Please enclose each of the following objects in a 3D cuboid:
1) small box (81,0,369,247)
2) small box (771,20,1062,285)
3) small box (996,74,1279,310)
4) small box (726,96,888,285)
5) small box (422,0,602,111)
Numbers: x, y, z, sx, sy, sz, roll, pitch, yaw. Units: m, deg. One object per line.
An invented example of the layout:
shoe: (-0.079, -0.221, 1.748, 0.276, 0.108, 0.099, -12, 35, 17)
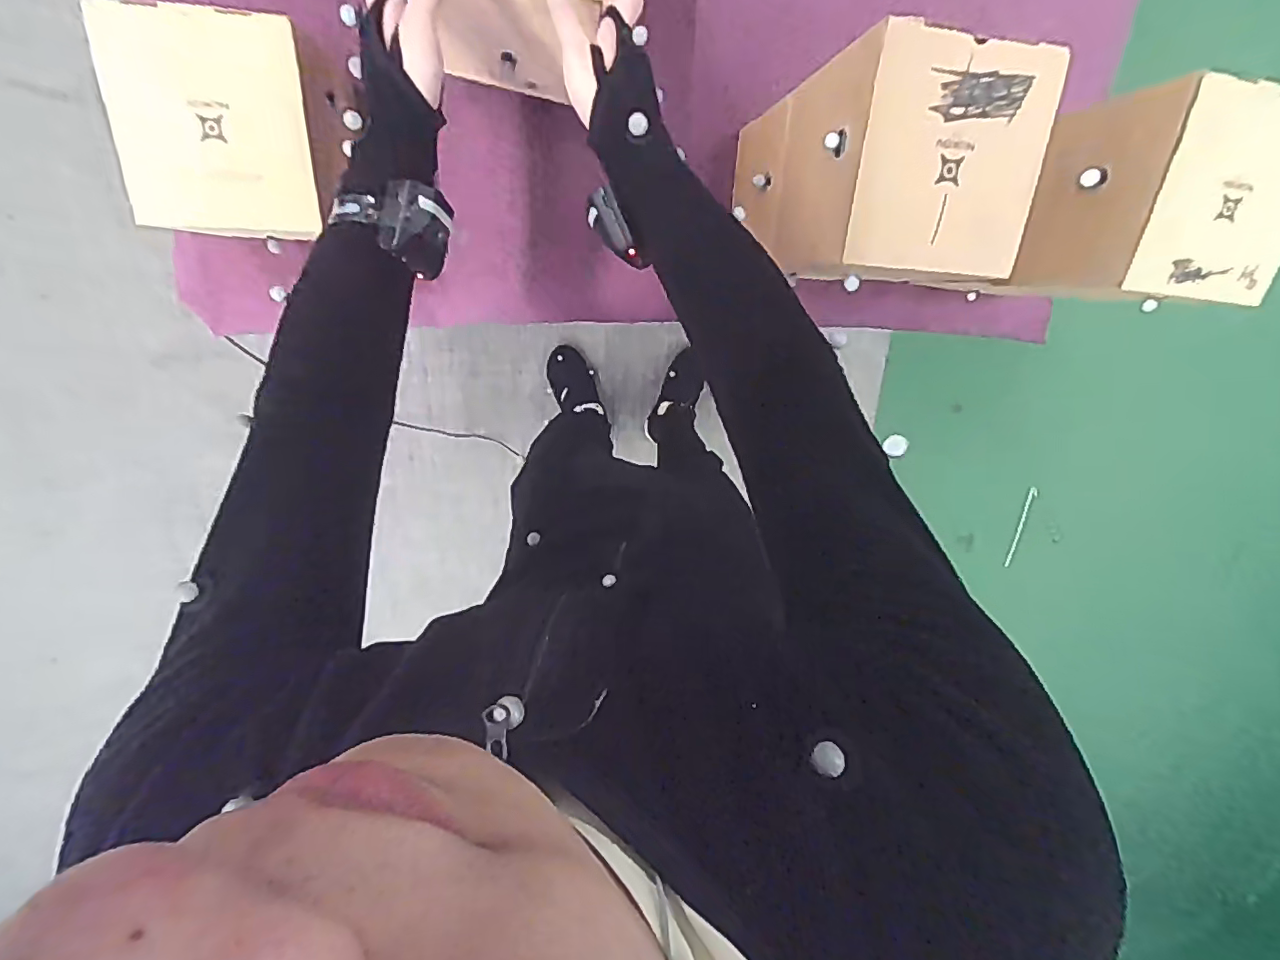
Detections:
small box: (-0.403, -0.348, 0.566, 0.168, 0.176, 0.179, -1, 110, -9)
small box: (0.241, -0.288, 0.521, 0.168, 0.176, 0.179, 1, 110, -10)
small box: (0.519, -0.280, 0.567, 0.168, 0.176, 0.179, 3, 109, -9)
small box: (0.214, -0.342, 0.675, 0.168, 0.176, 0.179, 1, 109, -10)
small box: (-0.121, -0.513, 0.529, 0.168, 0.176, 0.179, 6, 96, -13)
